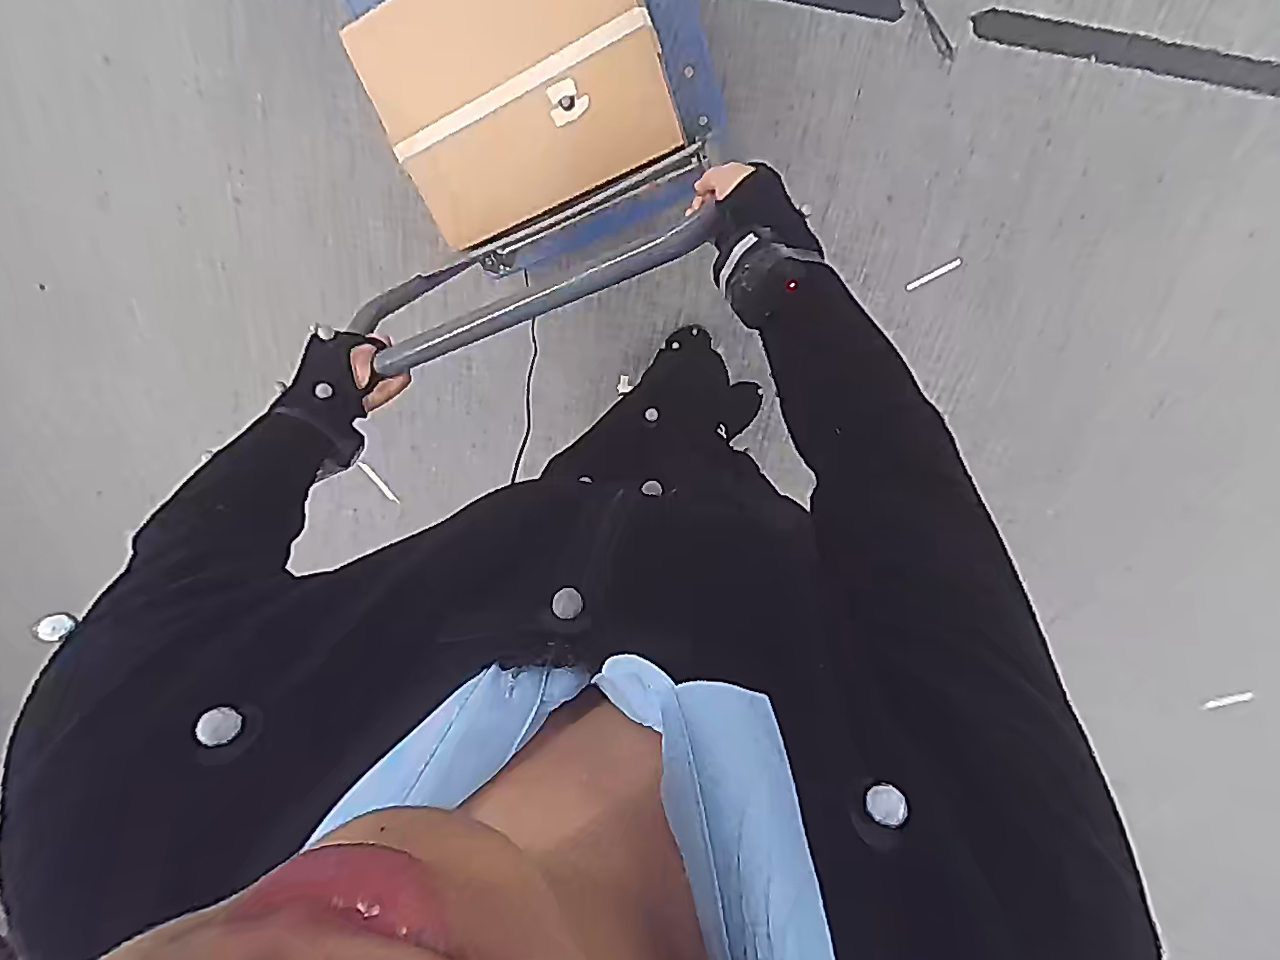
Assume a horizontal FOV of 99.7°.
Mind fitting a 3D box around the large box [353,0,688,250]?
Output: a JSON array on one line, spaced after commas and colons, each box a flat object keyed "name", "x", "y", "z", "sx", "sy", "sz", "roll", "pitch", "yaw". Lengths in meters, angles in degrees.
[{"name": "large box", "x": -0.159, "y": -0.630, "z": 0.903, "sx": 0.408, "sy": 0.320, "sz": 0.320, "roll": -18, "pitch": 116, "yaw": 15}]
